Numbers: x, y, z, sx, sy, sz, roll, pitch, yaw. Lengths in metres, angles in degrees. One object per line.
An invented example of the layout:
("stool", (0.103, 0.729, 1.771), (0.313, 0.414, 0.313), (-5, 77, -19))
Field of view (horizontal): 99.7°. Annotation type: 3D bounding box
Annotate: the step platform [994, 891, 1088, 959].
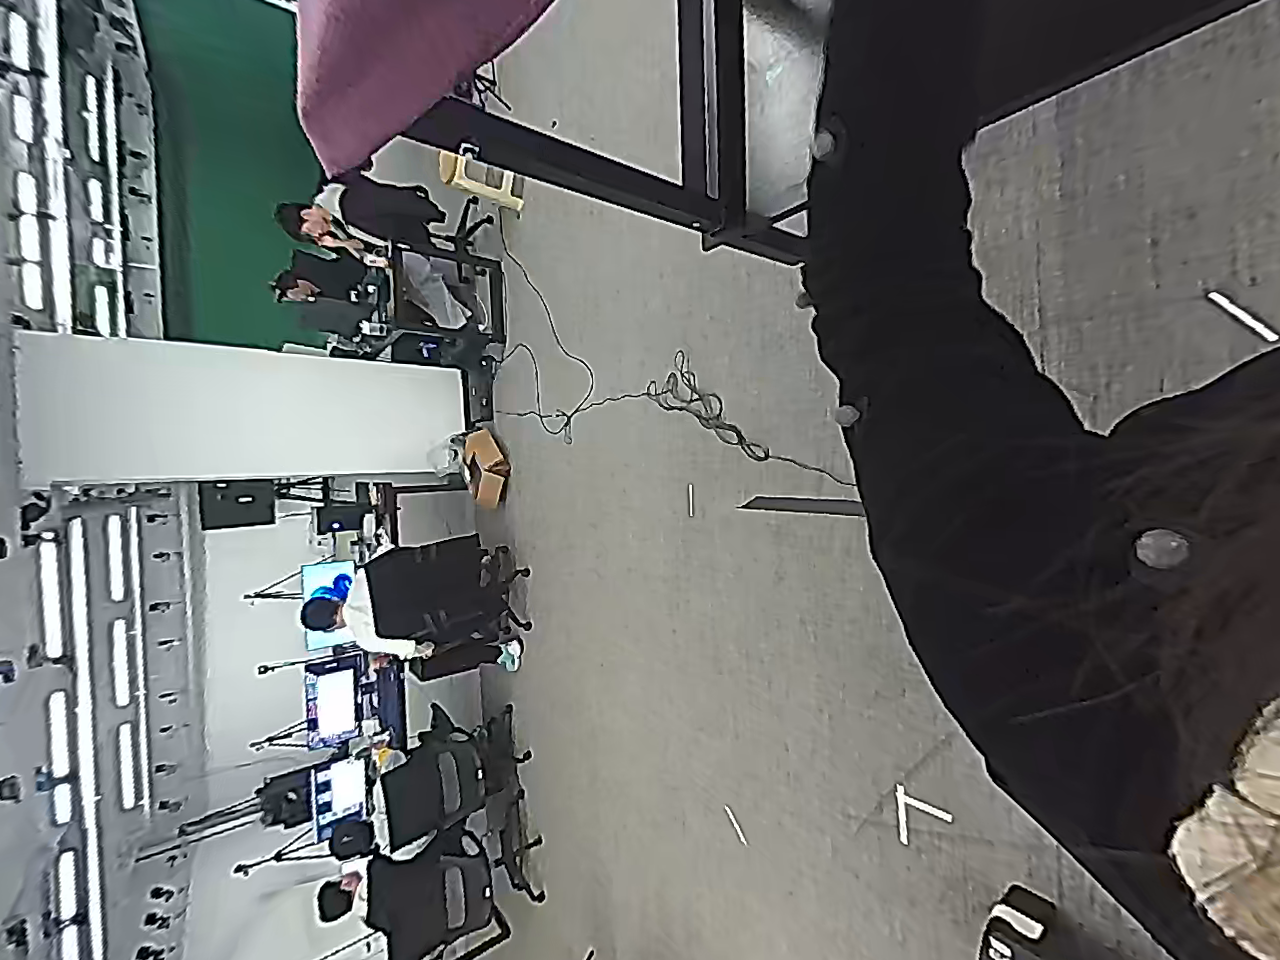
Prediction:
("step platform", (1.080, 1.184, 1.043), (0.684, 0.204, 0.286), (10, 100, 52))
